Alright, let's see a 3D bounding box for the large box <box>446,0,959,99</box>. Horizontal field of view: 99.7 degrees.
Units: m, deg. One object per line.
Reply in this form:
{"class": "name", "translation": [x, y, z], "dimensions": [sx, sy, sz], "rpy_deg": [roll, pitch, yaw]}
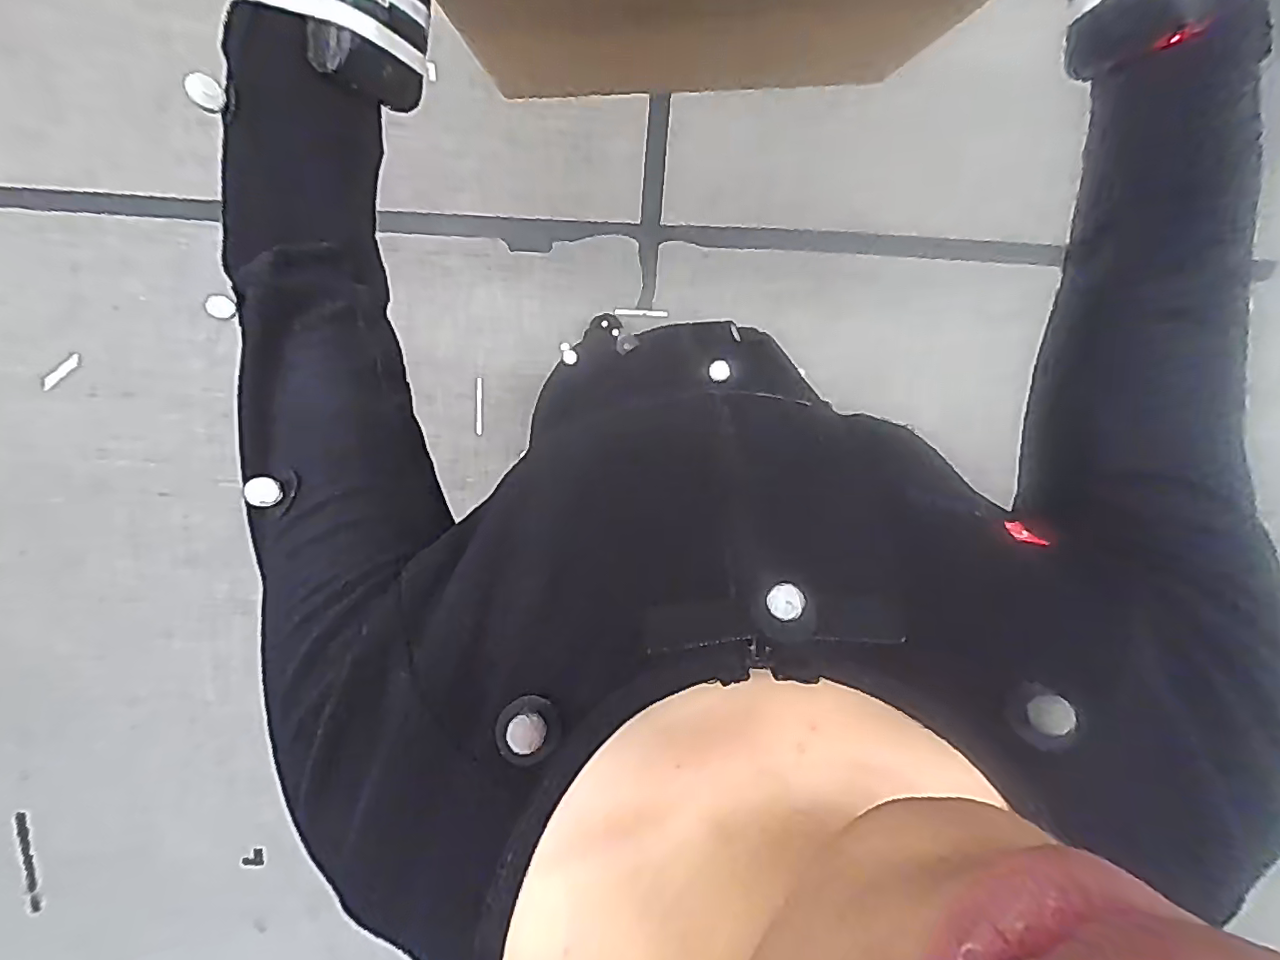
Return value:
{"class": "large box", "translation": [0.047, -0.507, 0.382], "dimensions": [0.408, 0.320, 0.320], "rpy_deg": [-3, 111, -1]}
